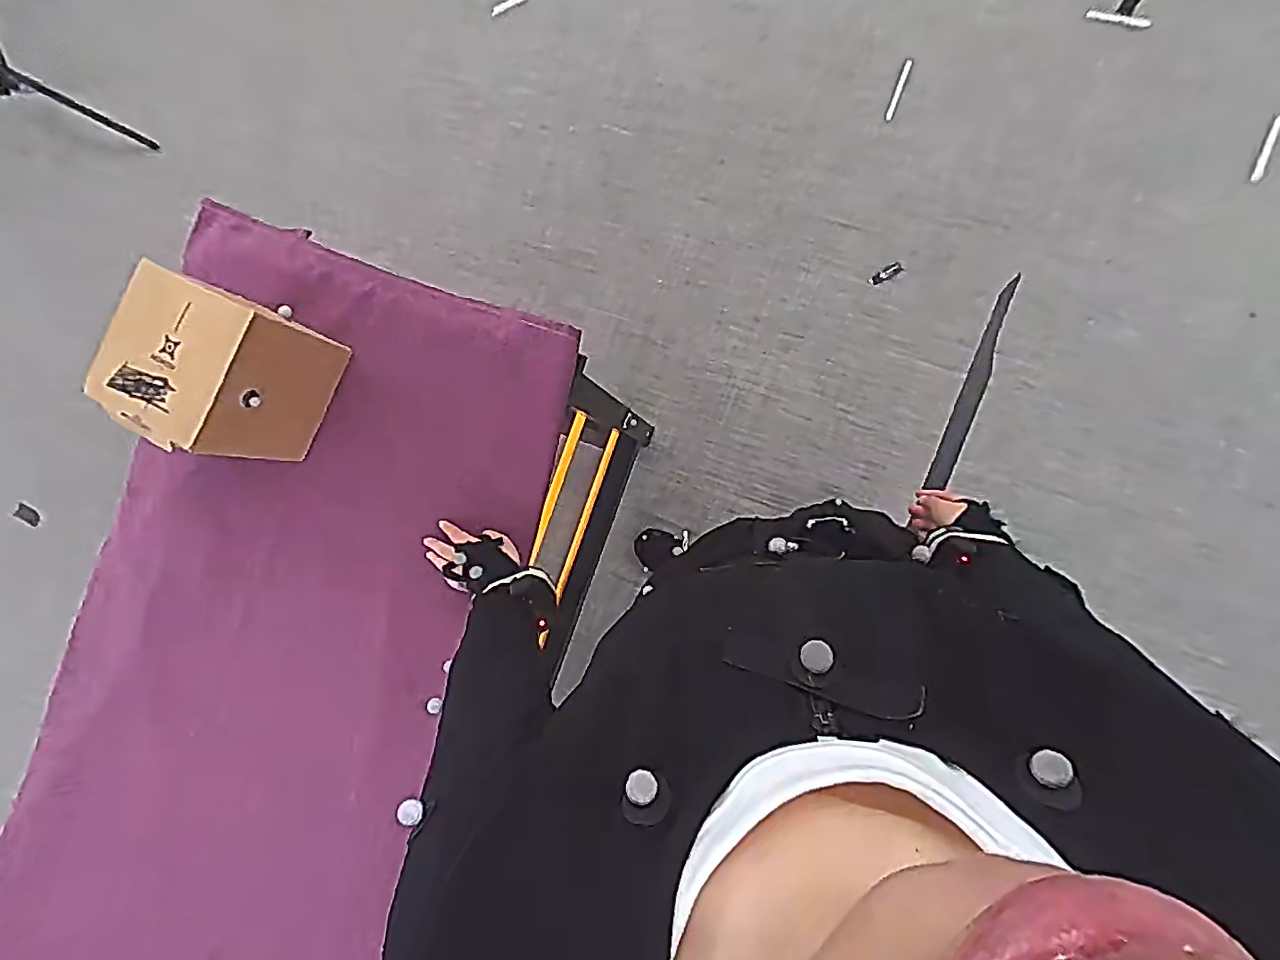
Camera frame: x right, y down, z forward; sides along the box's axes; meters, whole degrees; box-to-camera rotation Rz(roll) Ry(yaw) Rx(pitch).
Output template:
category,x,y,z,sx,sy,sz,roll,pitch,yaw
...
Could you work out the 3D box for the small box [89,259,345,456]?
category,x,y,z,sx,sy,sz,roll,pitch,yaw
small box,-0.524,-0.141,0.696,0.168,0.176,0.179,26,92,8
